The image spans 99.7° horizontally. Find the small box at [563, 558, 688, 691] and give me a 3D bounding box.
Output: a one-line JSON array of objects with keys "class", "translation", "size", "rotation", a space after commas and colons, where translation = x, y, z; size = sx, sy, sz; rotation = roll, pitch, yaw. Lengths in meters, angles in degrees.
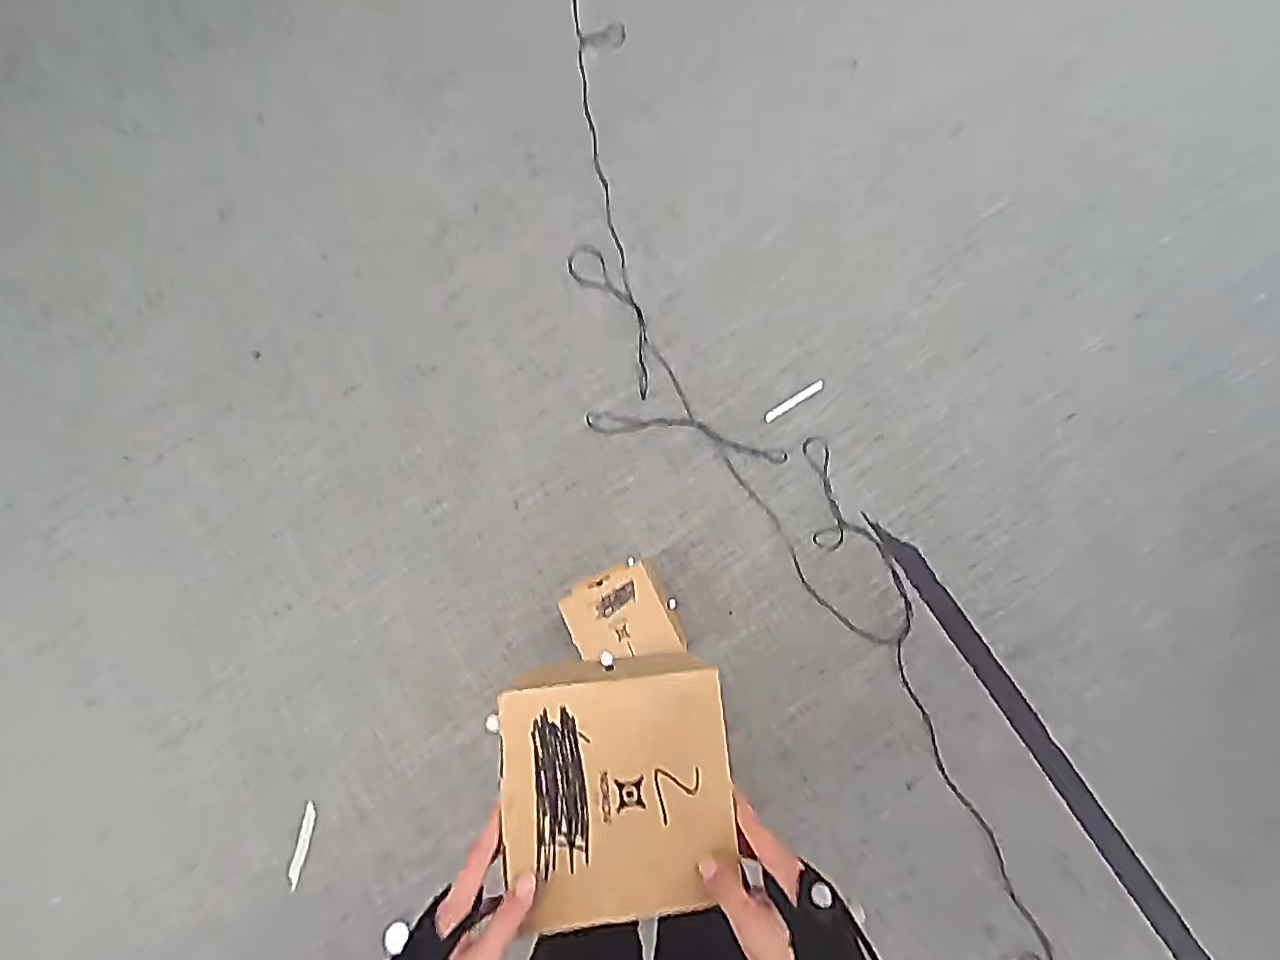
[{"class": "small box", "translation": [-0.022, 0.255, 0.998], "size": [0.168, 0.176, 0.179], "rotation": [-26, 82, 1]}]
